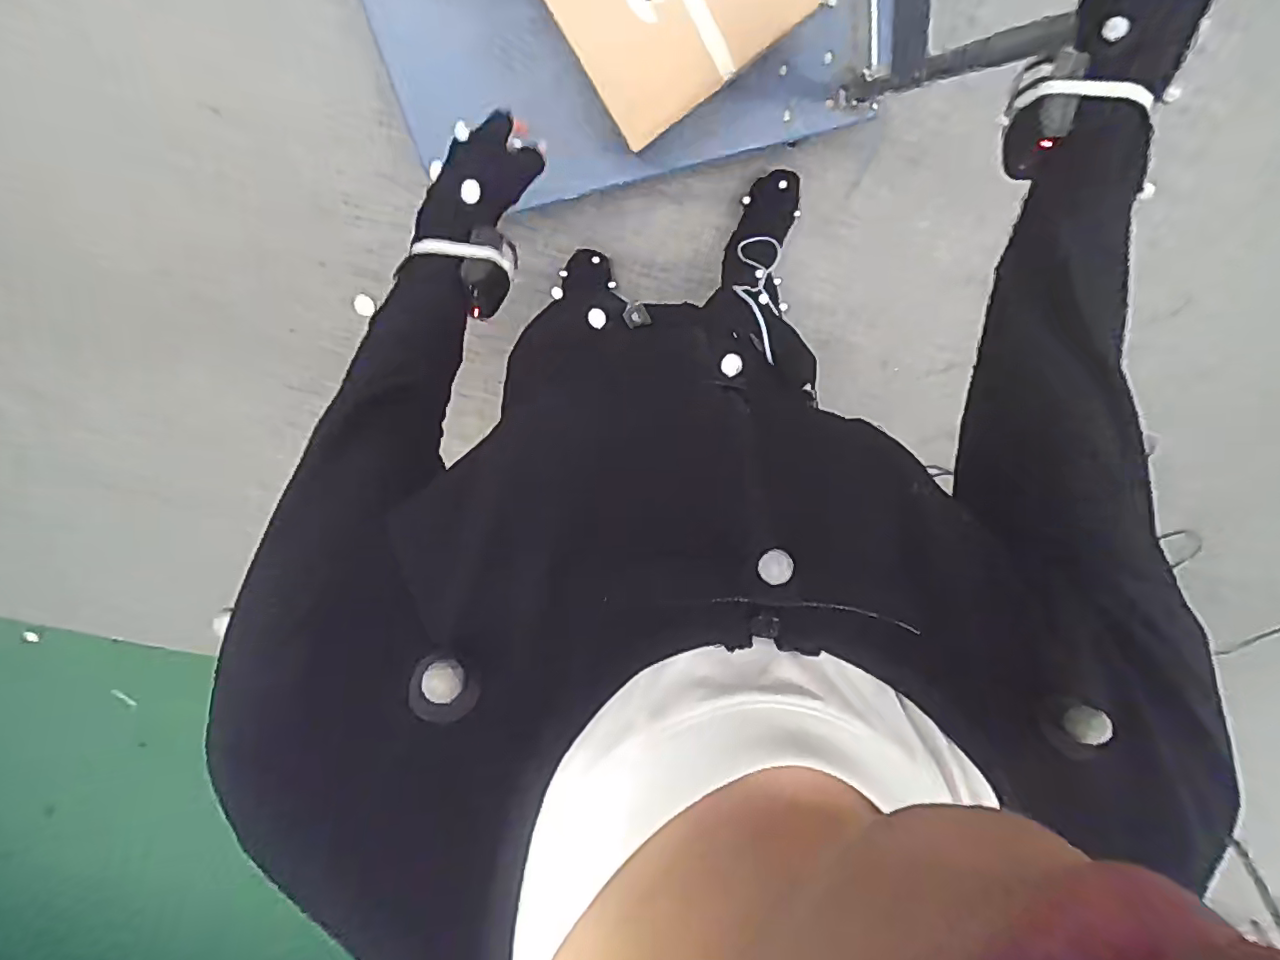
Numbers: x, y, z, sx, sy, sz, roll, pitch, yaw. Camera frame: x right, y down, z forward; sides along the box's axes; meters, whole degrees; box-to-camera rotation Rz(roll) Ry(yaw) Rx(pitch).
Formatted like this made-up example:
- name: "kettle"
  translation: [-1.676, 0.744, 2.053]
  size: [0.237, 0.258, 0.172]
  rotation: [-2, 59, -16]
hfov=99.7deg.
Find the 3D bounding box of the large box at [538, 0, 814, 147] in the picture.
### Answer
- name: "large box"
  translation: [-0.001, -0.768, 0.776]
  size: [0.320, 0.320, 0.408]
  rotation: [-31, 117, 17]
